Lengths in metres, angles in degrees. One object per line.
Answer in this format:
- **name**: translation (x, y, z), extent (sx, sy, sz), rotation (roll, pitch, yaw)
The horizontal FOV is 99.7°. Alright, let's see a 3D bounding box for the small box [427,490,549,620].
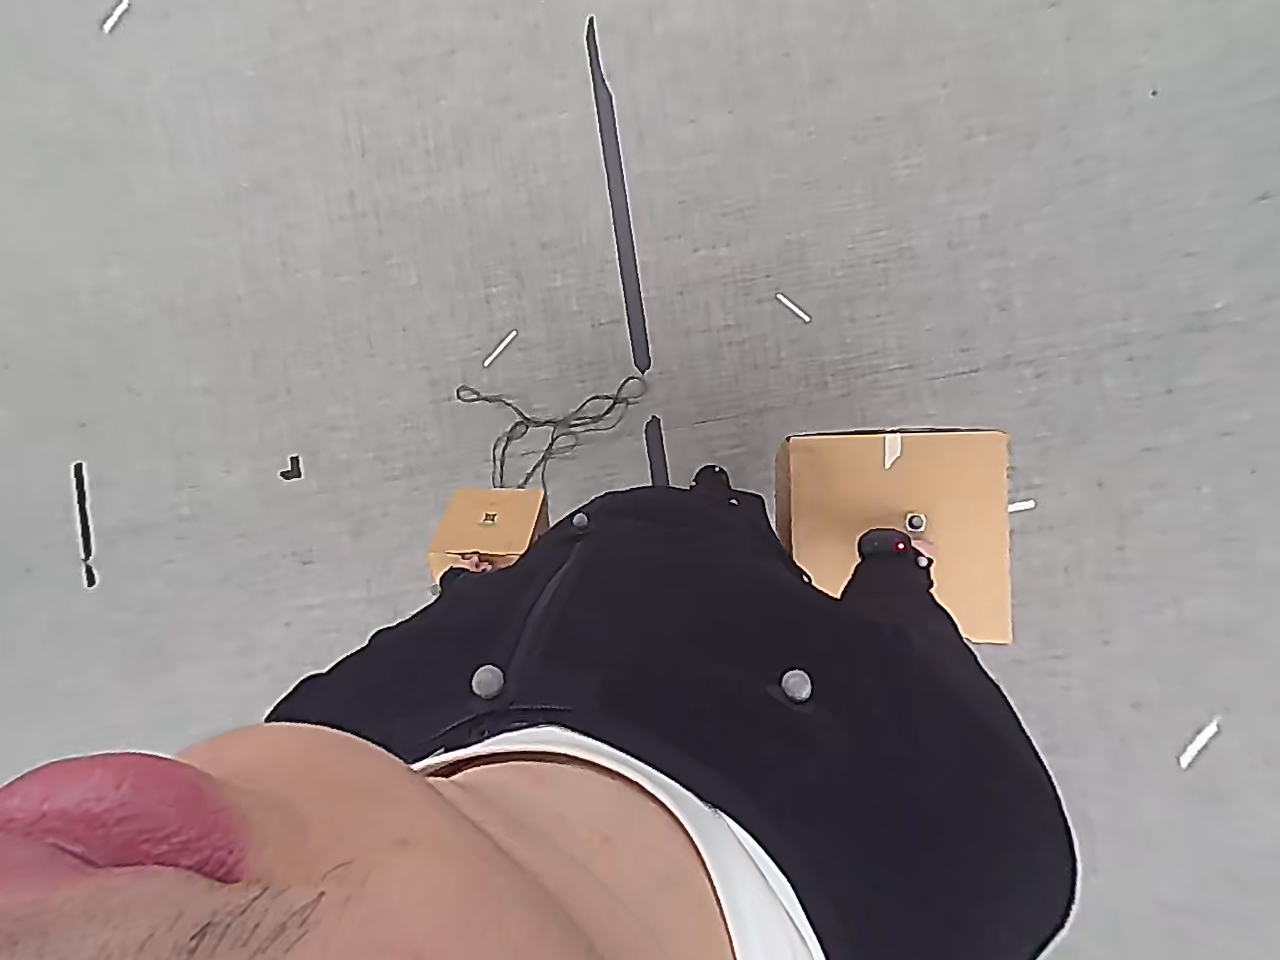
- **small box**: translation (-0.265, 0.138, 0.995), extent (0.168, 0.179, 0.176), rotation (2, 126, 1)
